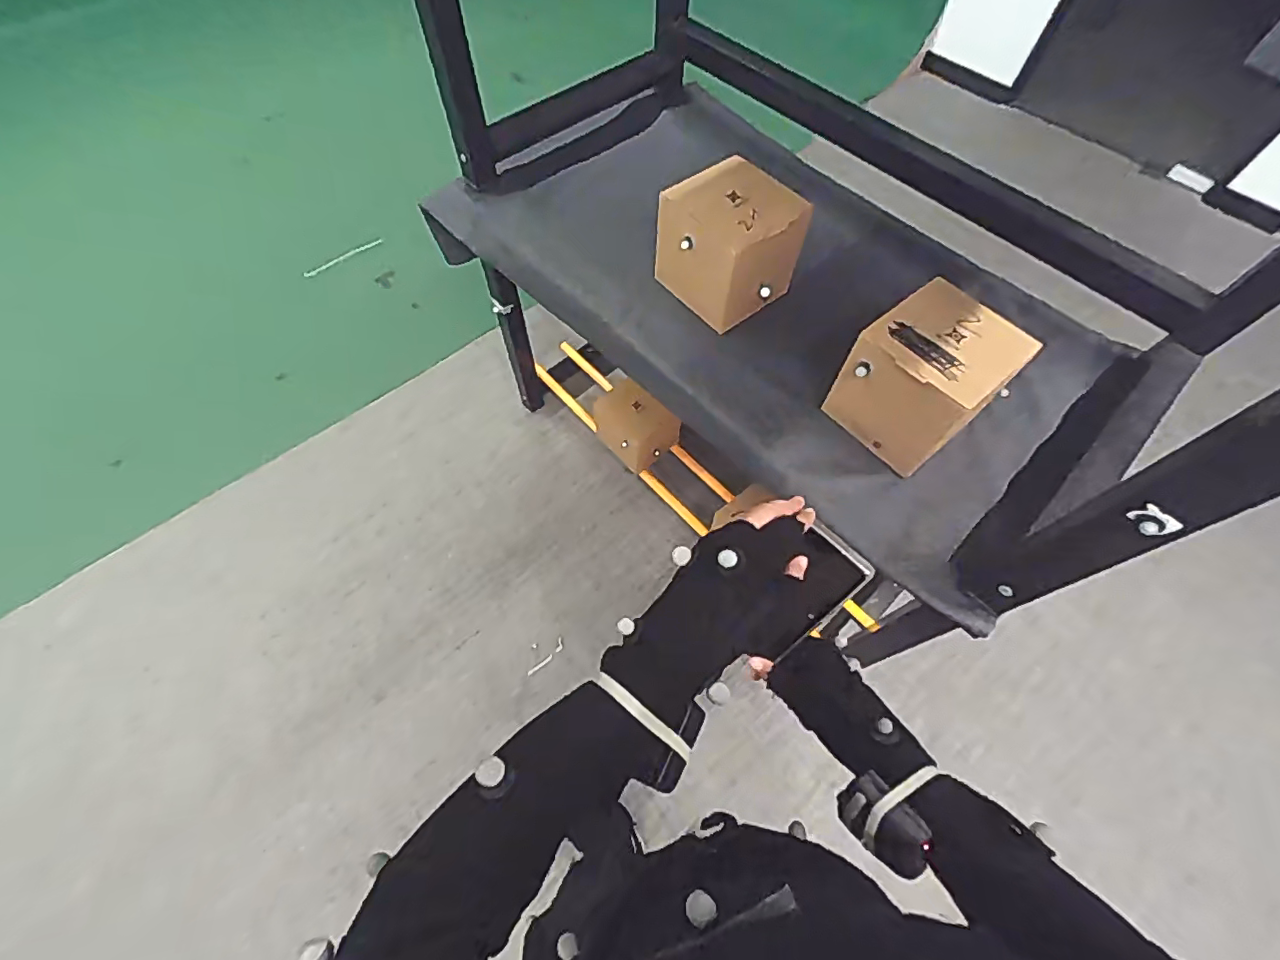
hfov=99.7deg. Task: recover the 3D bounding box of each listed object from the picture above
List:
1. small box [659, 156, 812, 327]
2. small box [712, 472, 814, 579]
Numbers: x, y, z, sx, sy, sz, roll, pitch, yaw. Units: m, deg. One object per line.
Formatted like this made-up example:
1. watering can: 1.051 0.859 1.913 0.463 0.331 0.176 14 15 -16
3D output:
1. small box: 0.146 -0.390 0.898 0.168 0.176 0.179 -36 69 -18
2. small box: 0.293 0.119 1.337 0.179 0.176 0.168 -36 69 -18
